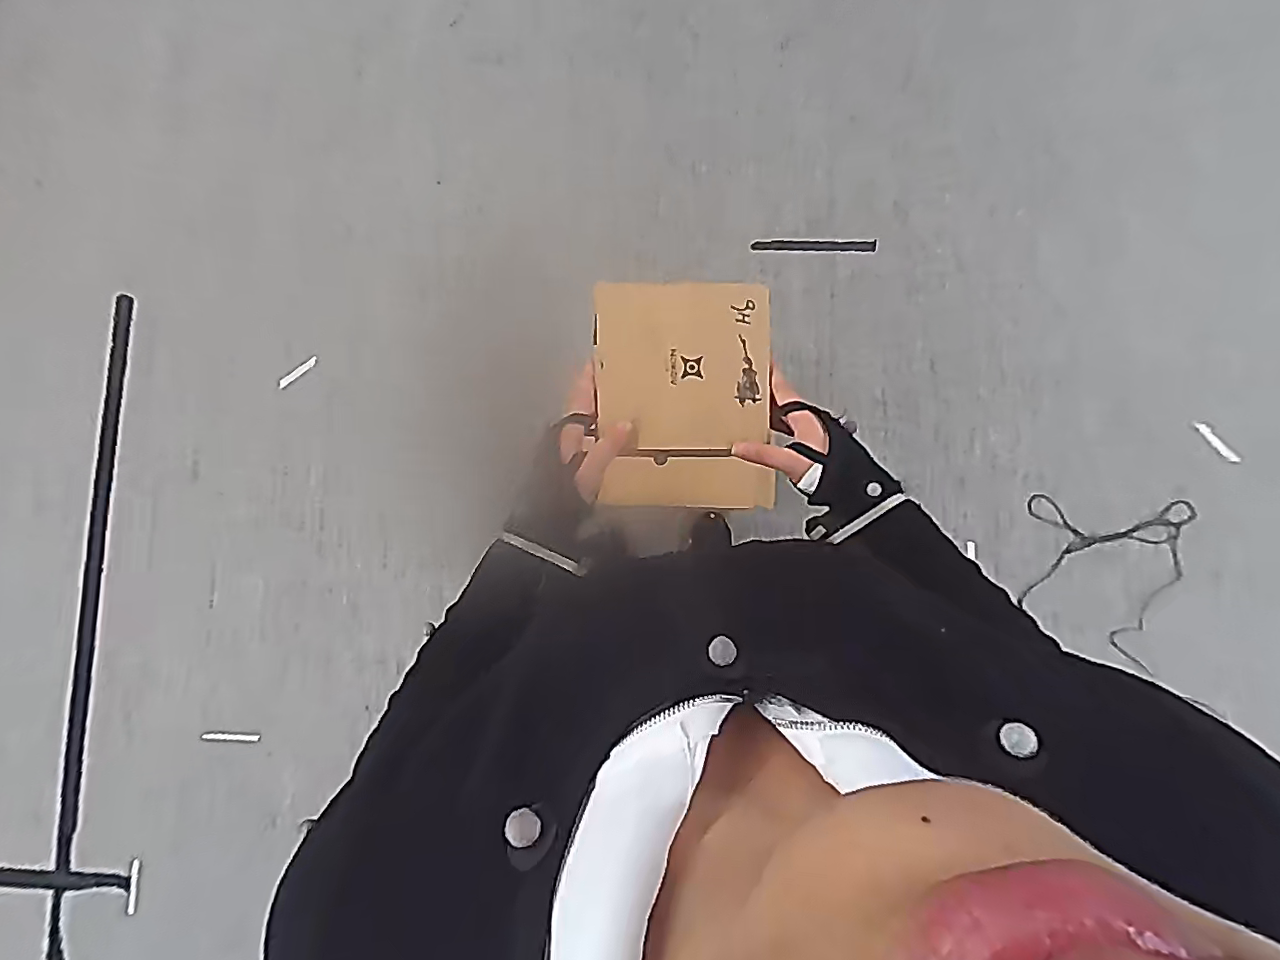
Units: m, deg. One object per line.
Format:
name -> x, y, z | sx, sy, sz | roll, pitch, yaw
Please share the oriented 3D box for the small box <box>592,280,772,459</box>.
small box -> 0.038, -0.110, 0.603 | 0.179, 0.176, 0.168 | -1, 90, -4
